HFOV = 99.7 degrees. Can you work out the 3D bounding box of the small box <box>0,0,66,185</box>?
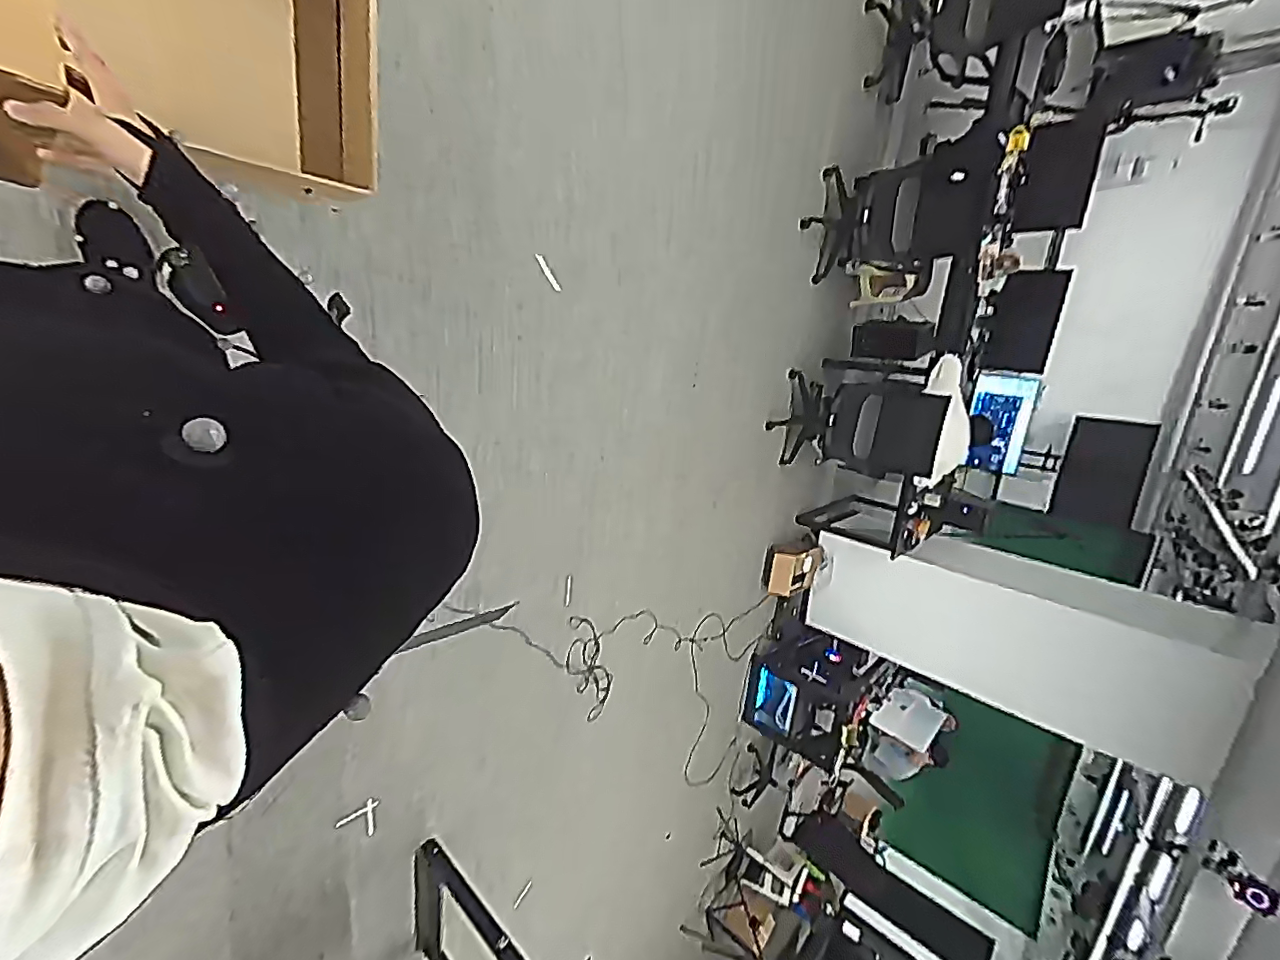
[{"bbox_3d":[-0.602,-0.380,0.430,0.168,0.176,0.179,-9,89,-55],"label":"small box"}]
